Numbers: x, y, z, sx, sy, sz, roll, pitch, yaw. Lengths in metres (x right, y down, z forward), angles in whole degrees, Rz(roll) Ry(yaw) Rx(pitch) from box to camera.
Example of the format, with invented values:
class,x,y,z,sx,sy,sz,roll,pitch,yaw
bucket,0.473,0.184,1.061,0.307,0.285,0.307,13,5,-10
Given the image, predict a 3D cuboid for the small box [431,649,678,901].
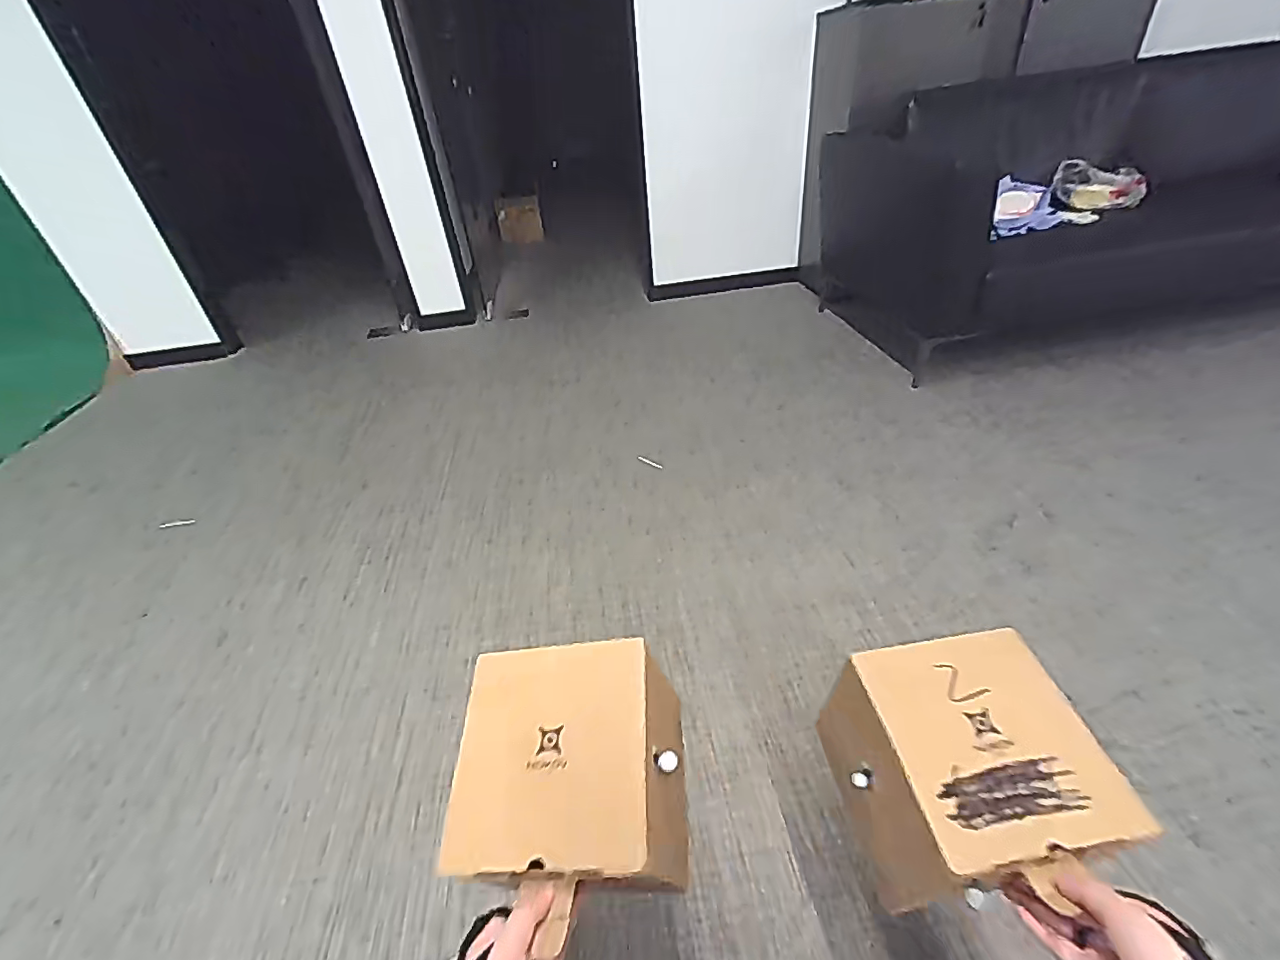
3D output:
class,x,y,z,sx,sy,sz,roll,pitch,yaw
small box,-0.060,0.278,0.504,0.168,0.176,0.179,-8,50,11
